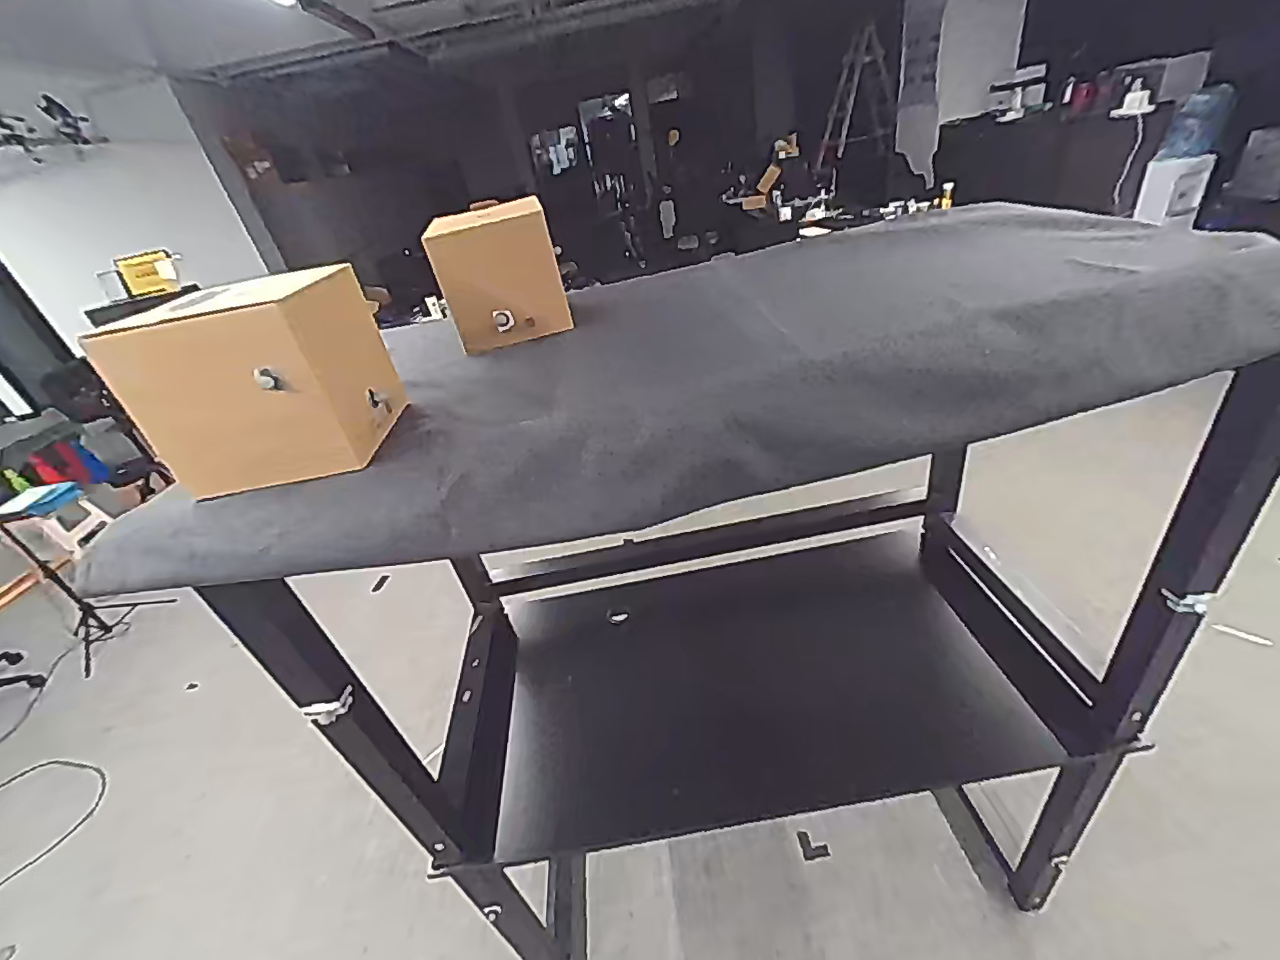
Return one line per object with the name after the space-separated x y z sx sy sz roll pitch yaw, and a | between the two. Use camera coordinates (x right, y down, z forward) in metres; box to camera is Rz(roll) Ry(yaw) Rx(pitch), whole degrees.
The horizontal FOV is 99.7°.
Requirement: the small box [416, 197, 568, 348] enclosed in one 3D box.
-0.213 -0.315 0.818 0.168 0.176 0.179 -16 33 -4 | small box
